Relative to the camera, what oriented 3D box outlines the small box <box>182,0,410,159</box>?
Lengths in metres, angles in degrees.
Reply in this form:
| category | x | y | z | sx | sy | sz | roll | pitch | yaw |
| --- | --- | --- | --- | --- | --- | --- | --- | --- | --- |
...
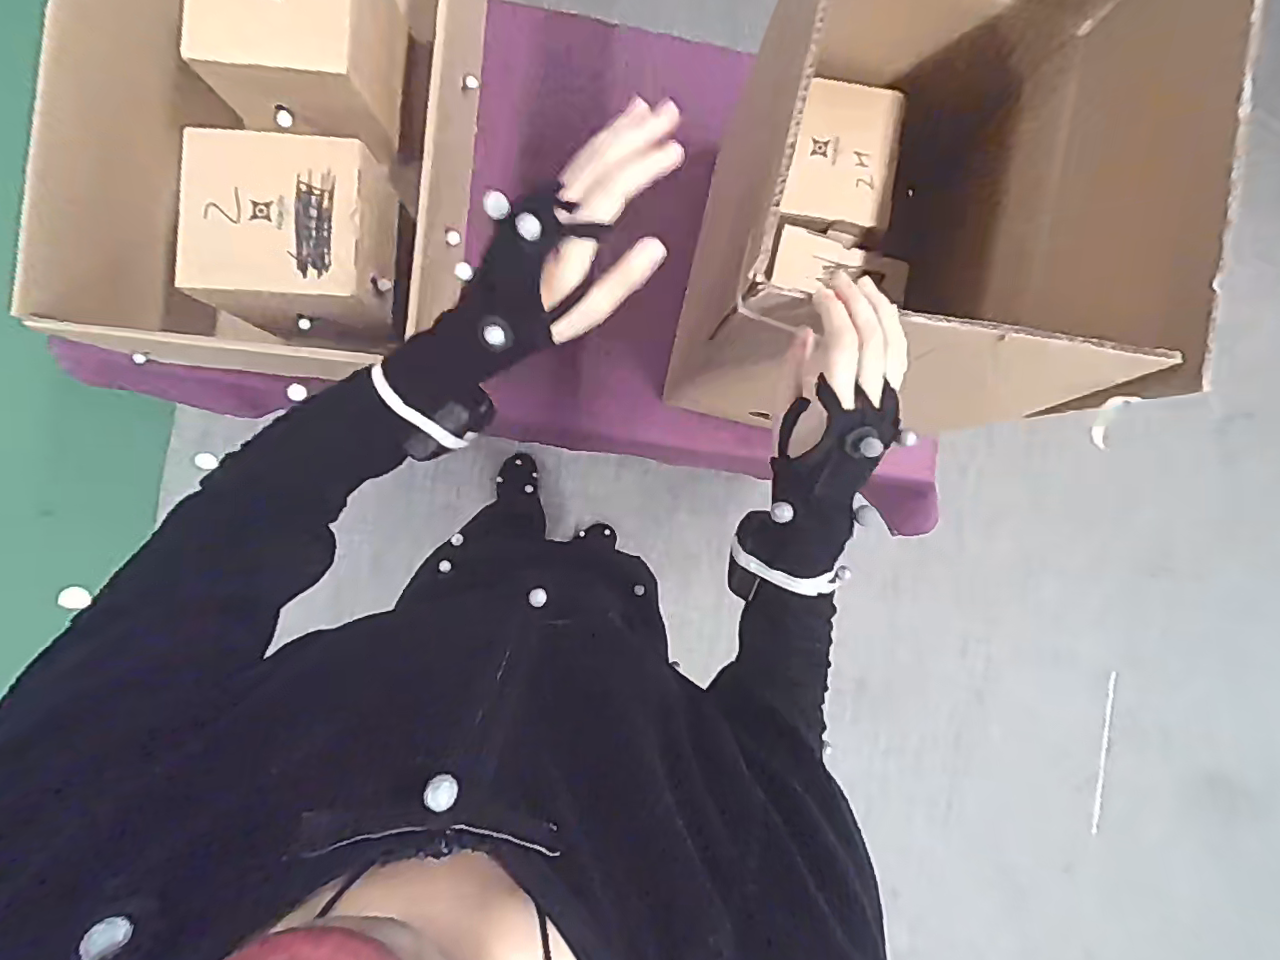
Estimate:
| category | x | y | z | sx | sy | sz | roll | pitch | yaw |
| --- | --- | --- | --- | --- | --- | --- | --- | --- | --- |
| small box | -0.384 | -0.511 | 0.634 | 0.168 | 0.176 | 0.179 | 3 | 89 | -3 |
